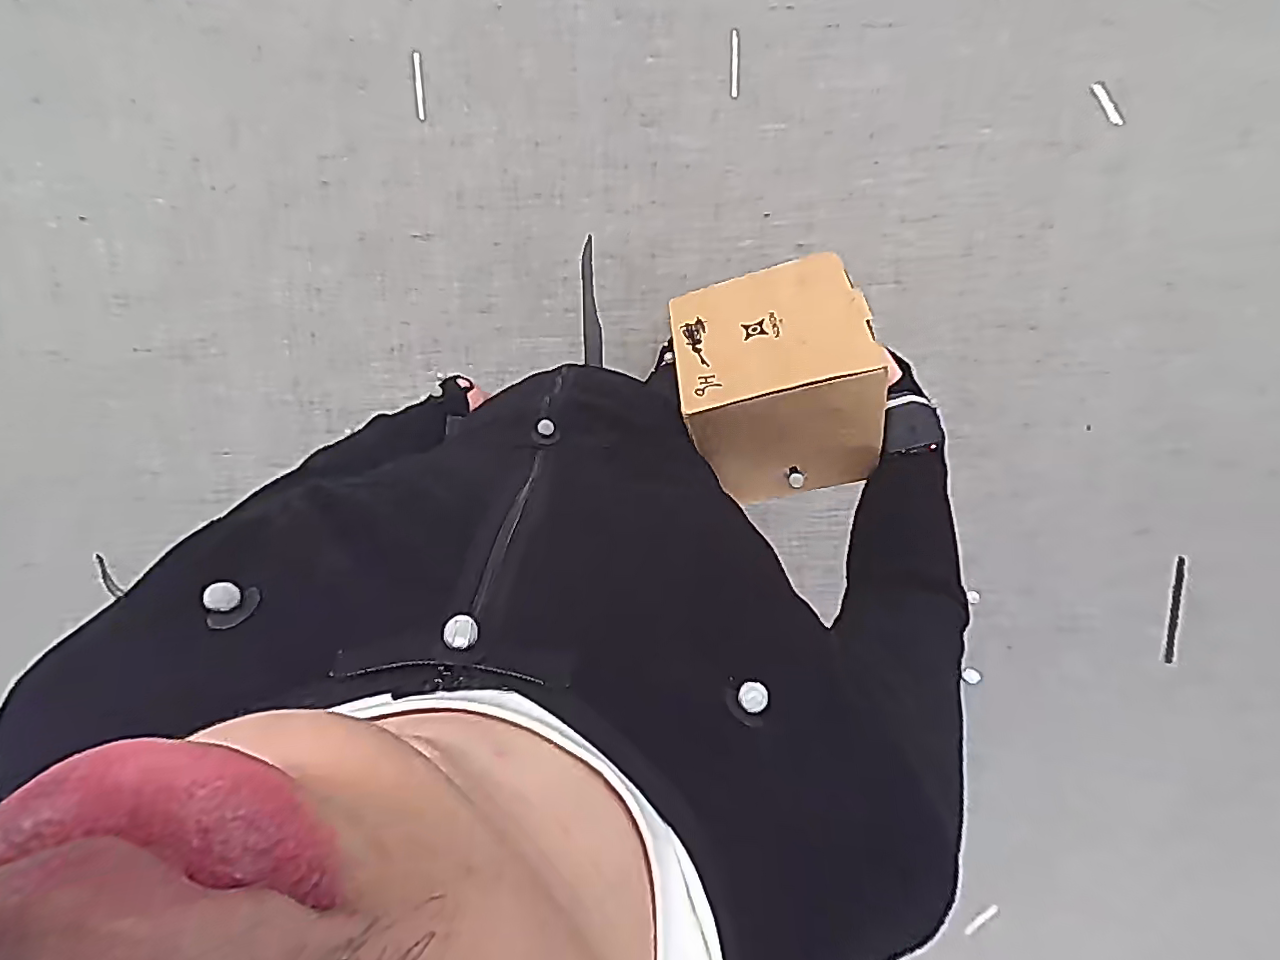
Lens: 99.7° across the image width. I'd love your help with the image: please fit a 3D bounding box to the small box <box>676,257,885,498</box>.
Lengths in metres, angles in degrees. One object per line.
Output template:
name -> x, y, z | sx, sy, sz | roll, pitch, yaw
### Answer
small box -> 0.147, -0.101, 0.587 | 0.179, 0.168, 0.176 | -12, 143, 13
